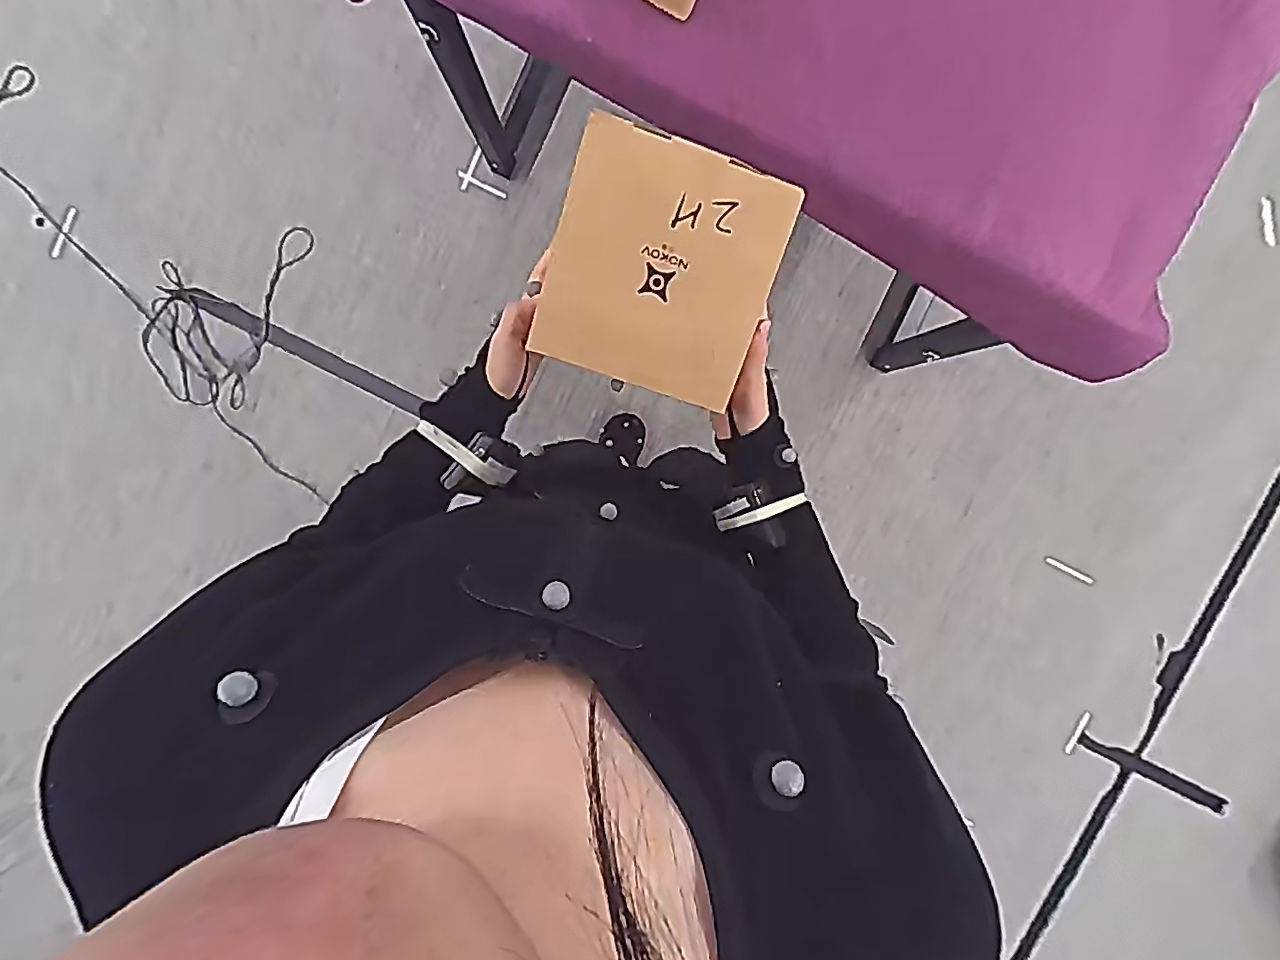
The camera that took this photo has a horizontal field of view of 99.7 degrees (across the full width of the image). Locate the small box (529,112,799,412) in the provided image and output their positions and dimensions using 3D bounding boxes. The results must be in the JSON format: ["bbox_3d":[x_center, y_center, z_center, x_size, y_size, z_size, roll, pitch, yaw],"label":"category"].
[{"bbox_3d":[0.014,-0.178,0.489,0.168,0.176,0.179,18,102,-6],"label":"small box"}]

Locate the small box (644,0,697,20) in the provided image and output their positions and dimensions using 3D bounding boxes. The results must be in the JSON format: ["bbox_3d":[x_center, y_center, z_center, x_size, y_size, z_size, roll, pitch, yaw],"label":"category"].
[{"bbox_3d":[0.028,-0.710,0.634,0.168,0.176,0.179,27,92,-4],"label":"small box"}]
